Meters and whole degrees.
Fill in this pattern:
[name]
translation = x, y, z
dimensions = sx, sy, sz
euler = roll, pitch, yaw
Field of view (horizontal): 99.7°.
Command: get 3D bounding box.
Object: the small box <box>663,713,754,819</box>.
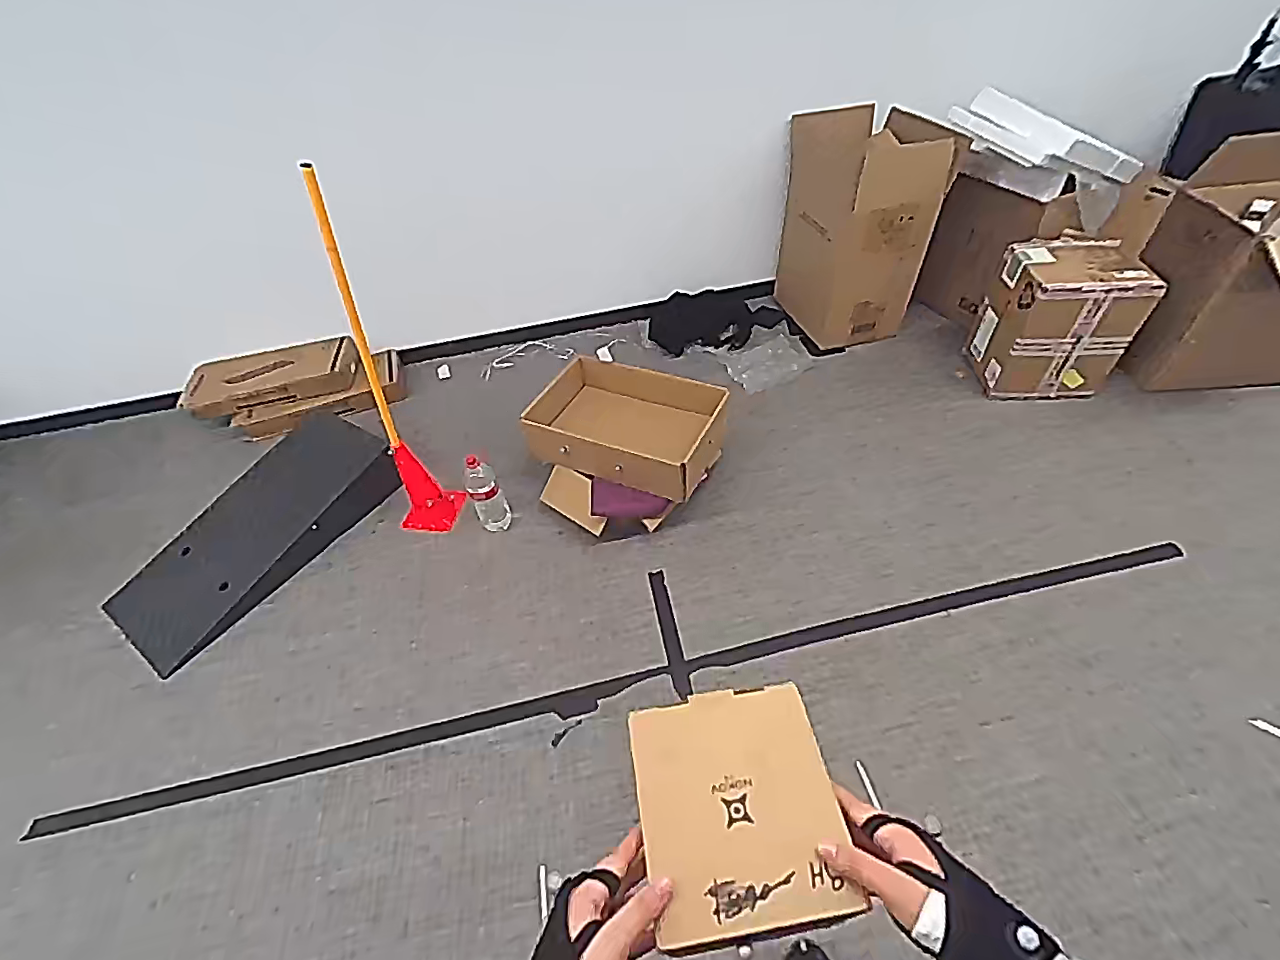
[small box]
translation = 0.160, 0.689, 1.300
dimensions = 0.179, 0.176, 0.168
euler = -13, 46, -3
